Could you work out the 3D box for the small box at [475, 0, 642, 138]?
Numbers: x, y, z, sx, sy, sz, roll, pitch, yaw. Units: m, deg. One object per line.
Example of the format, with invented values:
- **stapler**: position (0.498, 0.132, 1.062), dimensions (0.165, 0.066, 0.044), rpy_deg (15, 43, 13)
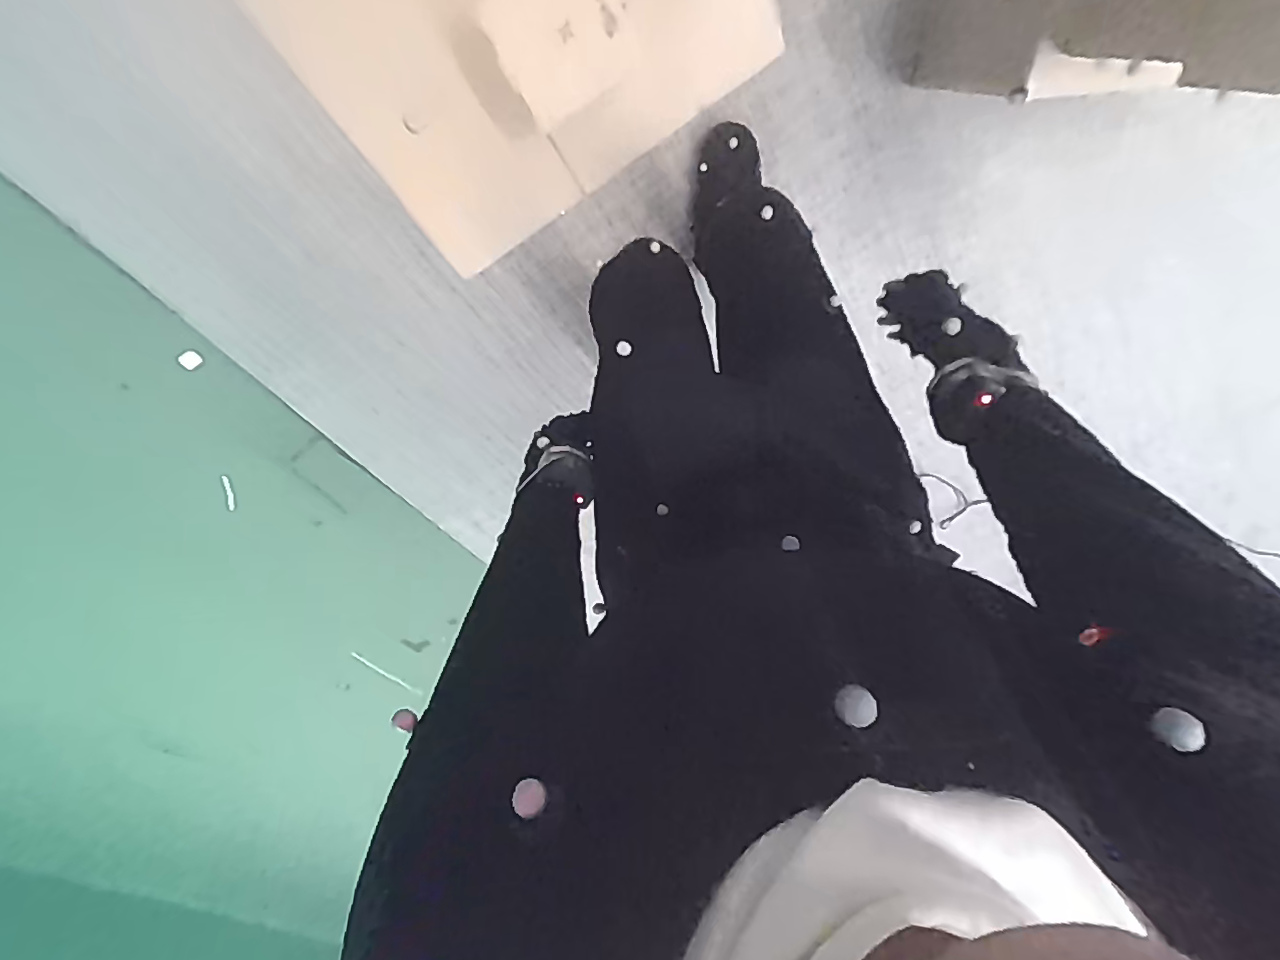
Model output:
- **small box**: position (-0.108, -0.644, 0.800), dimensions (0.179, 0.176, 0.168), rpy_deg (-27, 122, 19)
